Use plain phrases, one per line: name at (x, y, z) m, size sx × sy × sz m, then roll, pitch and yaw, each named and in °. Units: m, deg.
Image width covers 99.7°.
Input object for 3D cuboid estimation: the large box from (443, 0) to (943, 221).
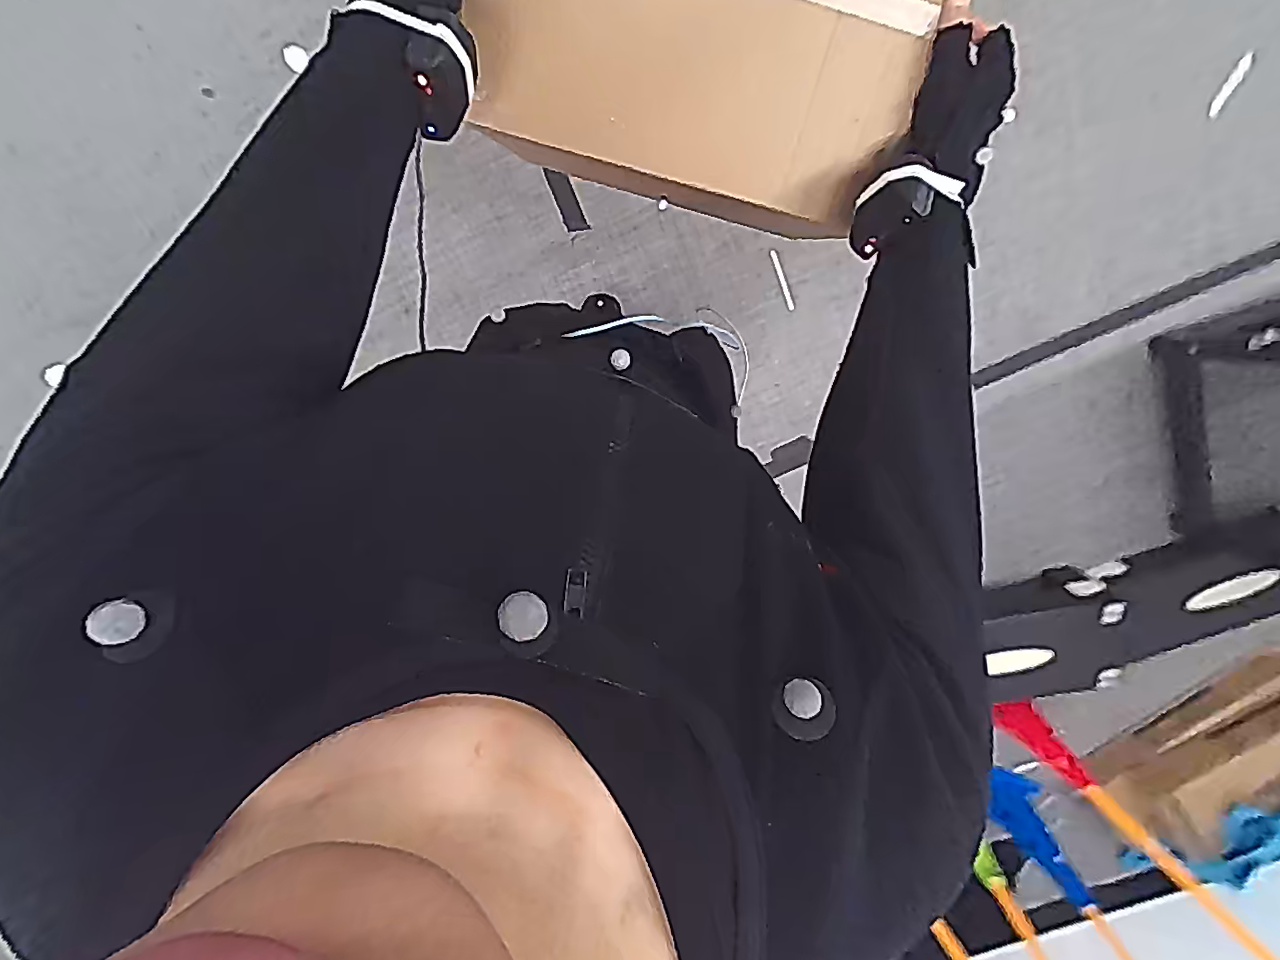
large box at (0.058, -0.483, 0.567) m, size 0.408 × 0.320 × 0.320 m, roll 13°, pitch 113°, yaw -4°
